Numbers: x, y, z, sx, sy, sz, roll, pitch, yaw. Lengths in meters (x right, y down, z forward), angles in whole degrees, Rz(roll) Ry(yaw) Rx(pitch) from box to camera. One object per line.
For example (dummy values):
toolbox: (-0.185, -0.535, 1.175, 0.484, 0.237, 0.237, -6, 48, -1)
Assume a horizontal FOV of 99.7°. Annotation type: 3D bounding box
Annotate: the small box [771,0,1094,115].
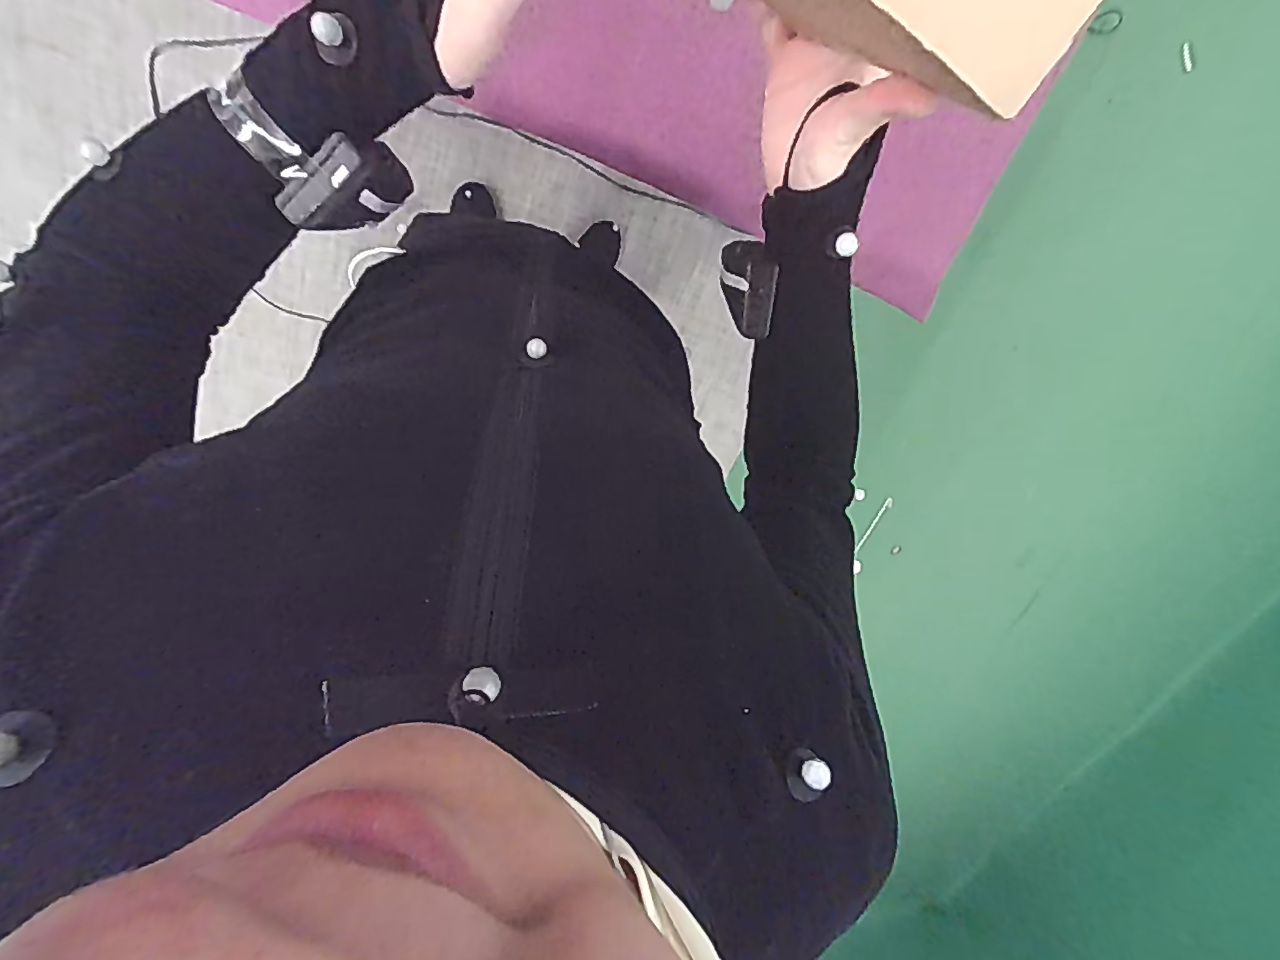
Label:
small box: (0.100, -0.280, 0.194, 0.179, 0.176, 0.168, 0, 137, -35)
